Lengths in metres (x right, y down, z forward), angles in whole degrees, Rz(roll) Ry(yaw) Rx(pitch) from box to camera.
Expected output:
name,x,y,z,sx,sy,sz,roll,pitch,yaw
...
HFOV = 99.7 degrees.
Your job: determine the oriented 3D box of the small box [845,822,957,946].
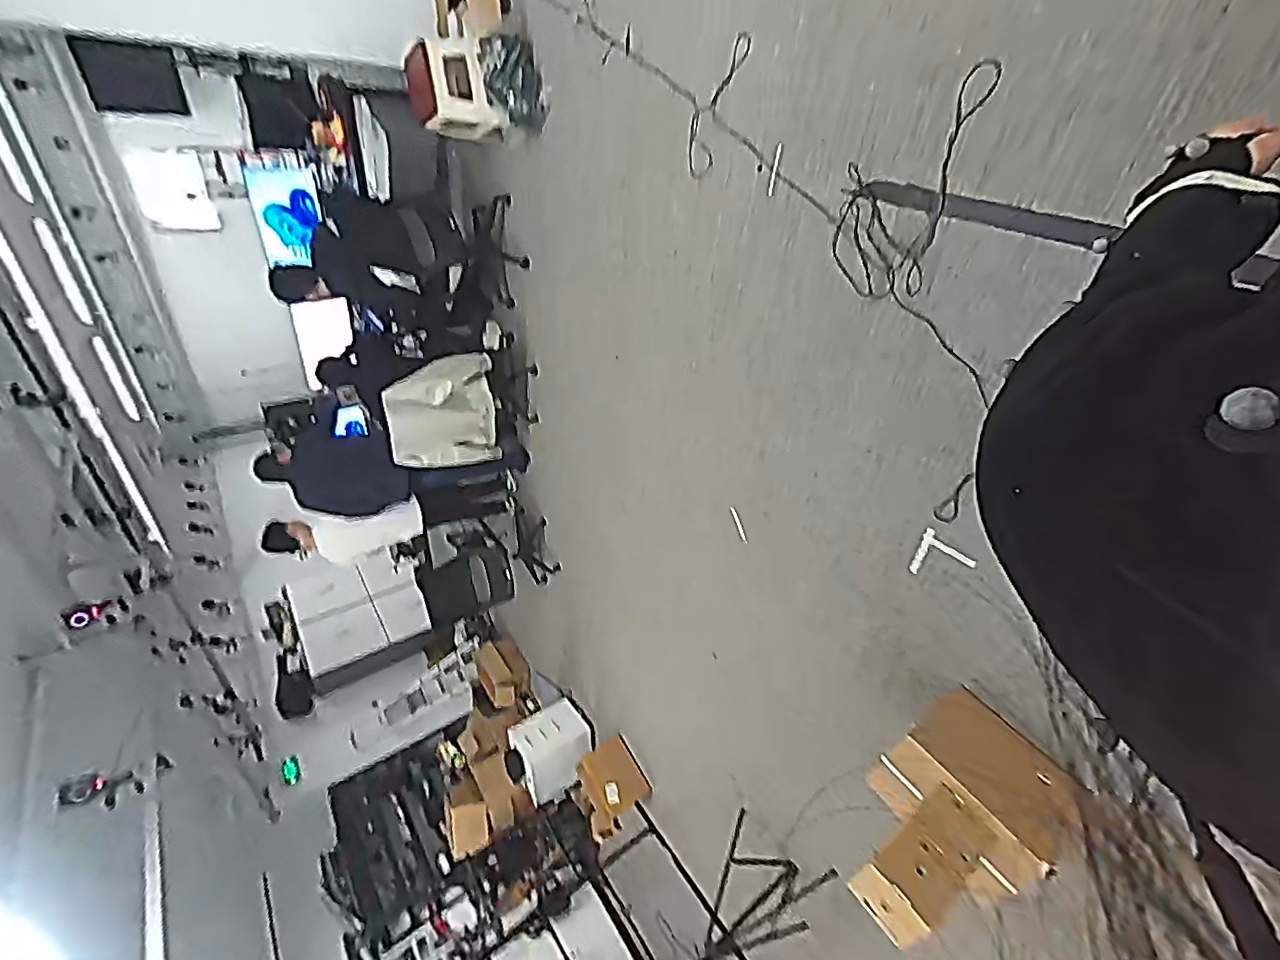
name,x,y,z,sx,sy,sz,roll,pitch,yaw
small box,0.660,1.009,1.361,0.168,0.176,0.179,44,139,35
